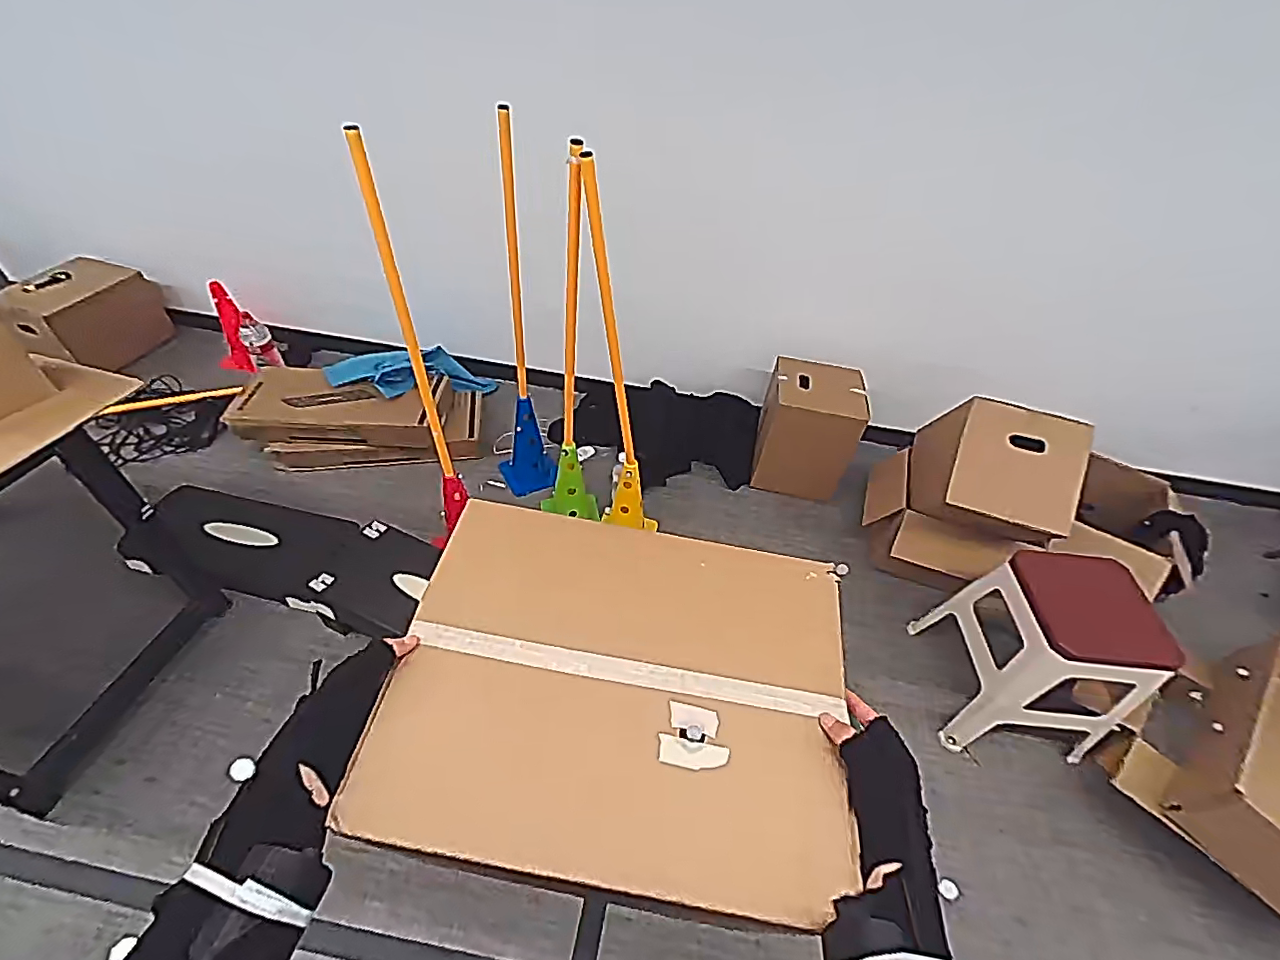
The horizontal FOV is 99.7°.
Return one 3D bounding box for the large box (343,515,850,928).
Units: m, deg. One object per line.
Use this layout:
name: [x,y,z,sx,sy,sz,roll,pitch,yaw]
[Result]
large box: [-0.029,0.280,0.618,0.408,0.320,0.320,11,52,2]
